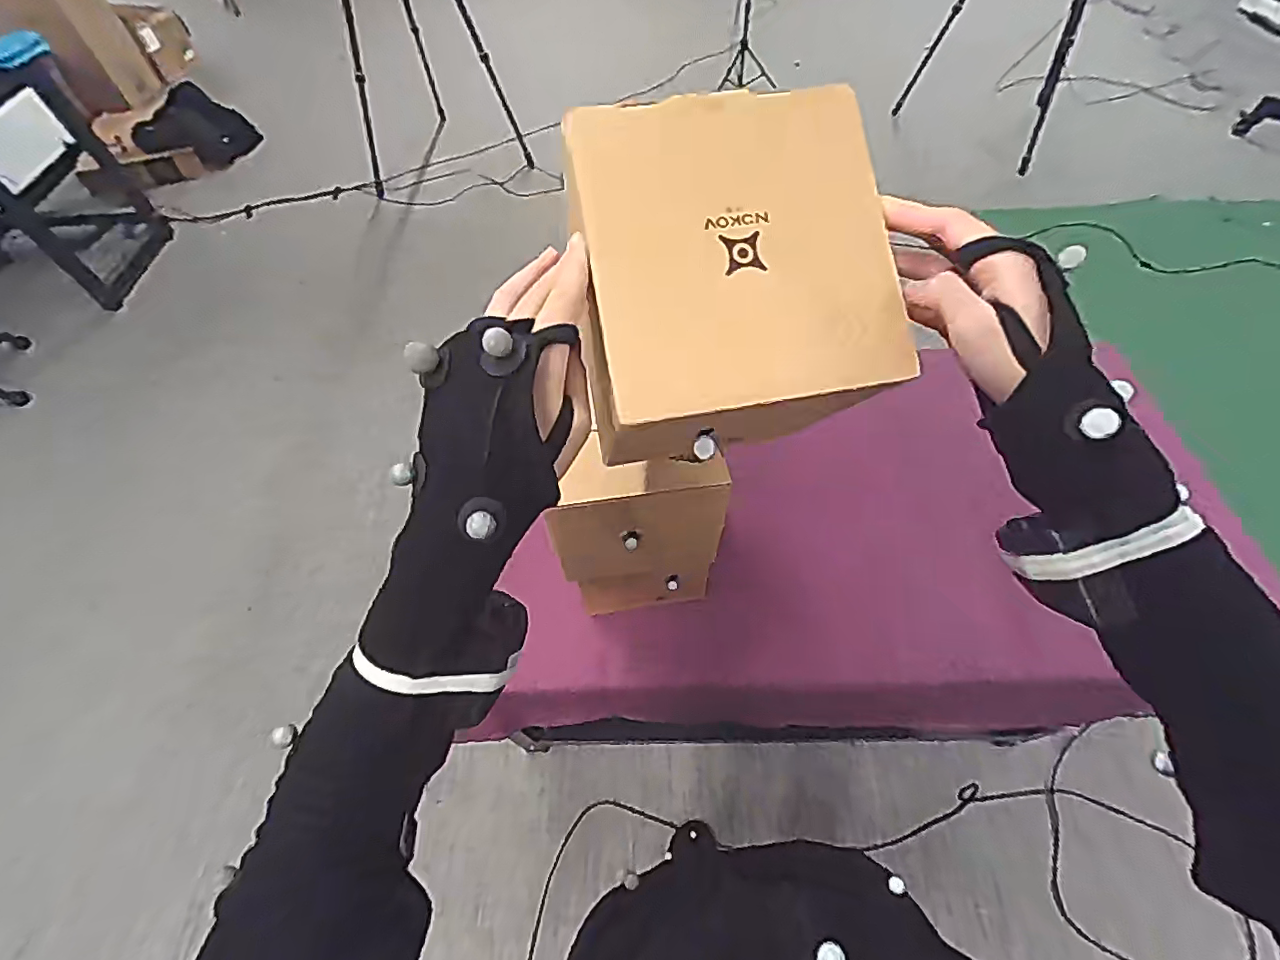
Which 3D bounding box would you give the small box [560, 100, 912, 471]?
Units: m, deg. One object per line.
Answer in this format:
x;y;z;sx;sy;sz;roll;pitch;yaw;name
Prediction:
0.045;-0.106;0.366;0.168;0.176;0.179;-10;84;-6;small box

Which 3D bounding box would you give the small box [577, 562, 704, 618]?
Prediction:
-0.007;0.077;0.740;0.168;0.176;0.179;-7;55;-3;small box

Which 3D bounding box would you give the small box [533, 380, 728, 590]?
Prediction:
-0.014;0.005;0.591;0.179;0.176;0.168;-7;55;-3;small box
